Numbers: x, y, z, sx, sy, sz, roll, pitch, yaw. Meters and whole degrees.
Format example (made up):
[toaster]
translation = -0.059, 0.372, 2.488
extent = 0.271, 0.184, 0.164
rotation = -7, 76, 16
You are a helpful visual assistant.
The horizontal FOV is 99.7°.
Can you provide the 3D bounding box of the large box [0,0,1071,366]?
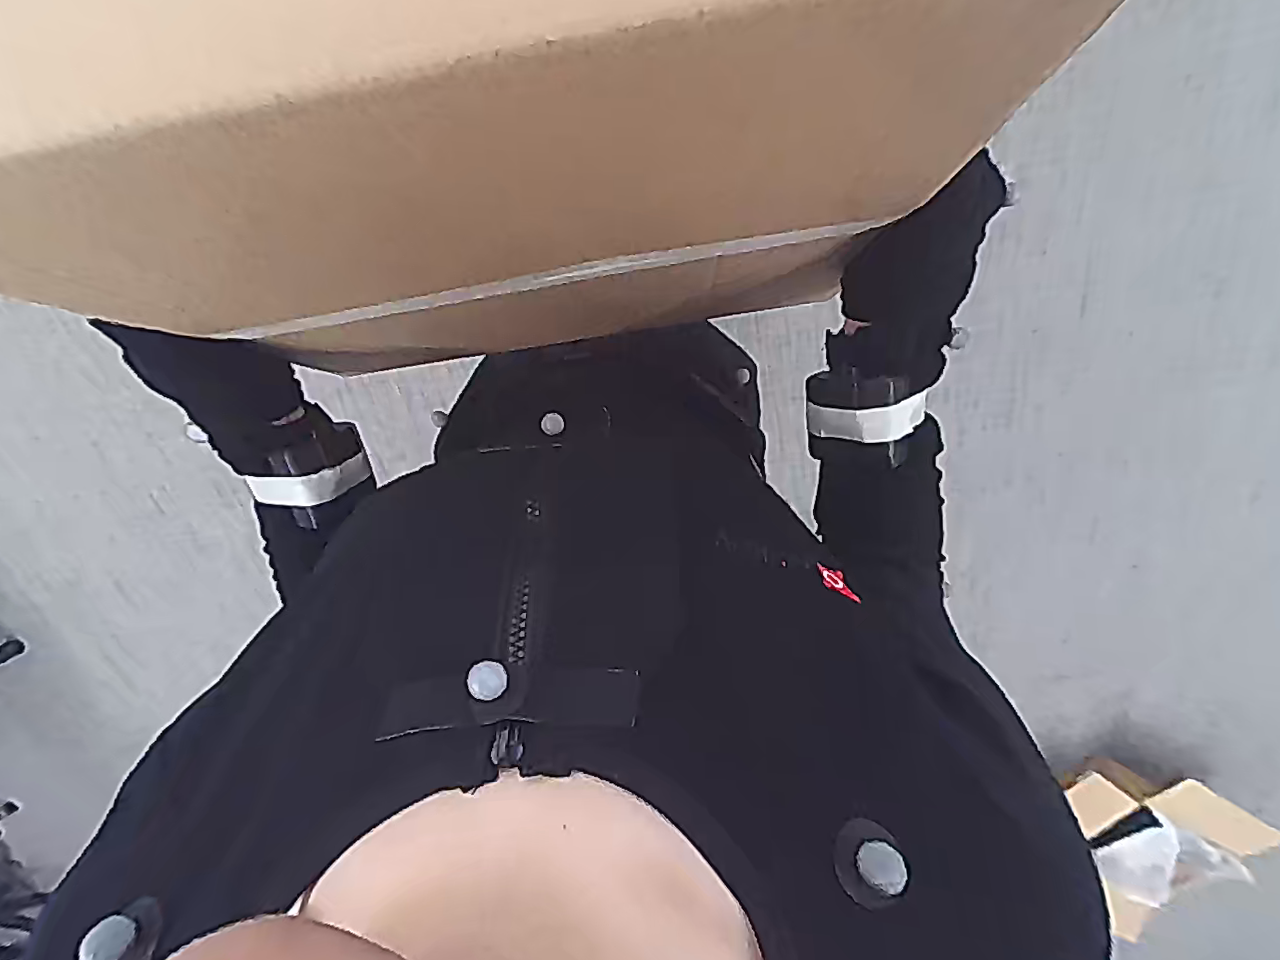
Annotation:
[large box]
translation = -0.078, -0.270, 0.294
extent = 0.408, 0.320, 0.320
rotation = -8, 92, 4
